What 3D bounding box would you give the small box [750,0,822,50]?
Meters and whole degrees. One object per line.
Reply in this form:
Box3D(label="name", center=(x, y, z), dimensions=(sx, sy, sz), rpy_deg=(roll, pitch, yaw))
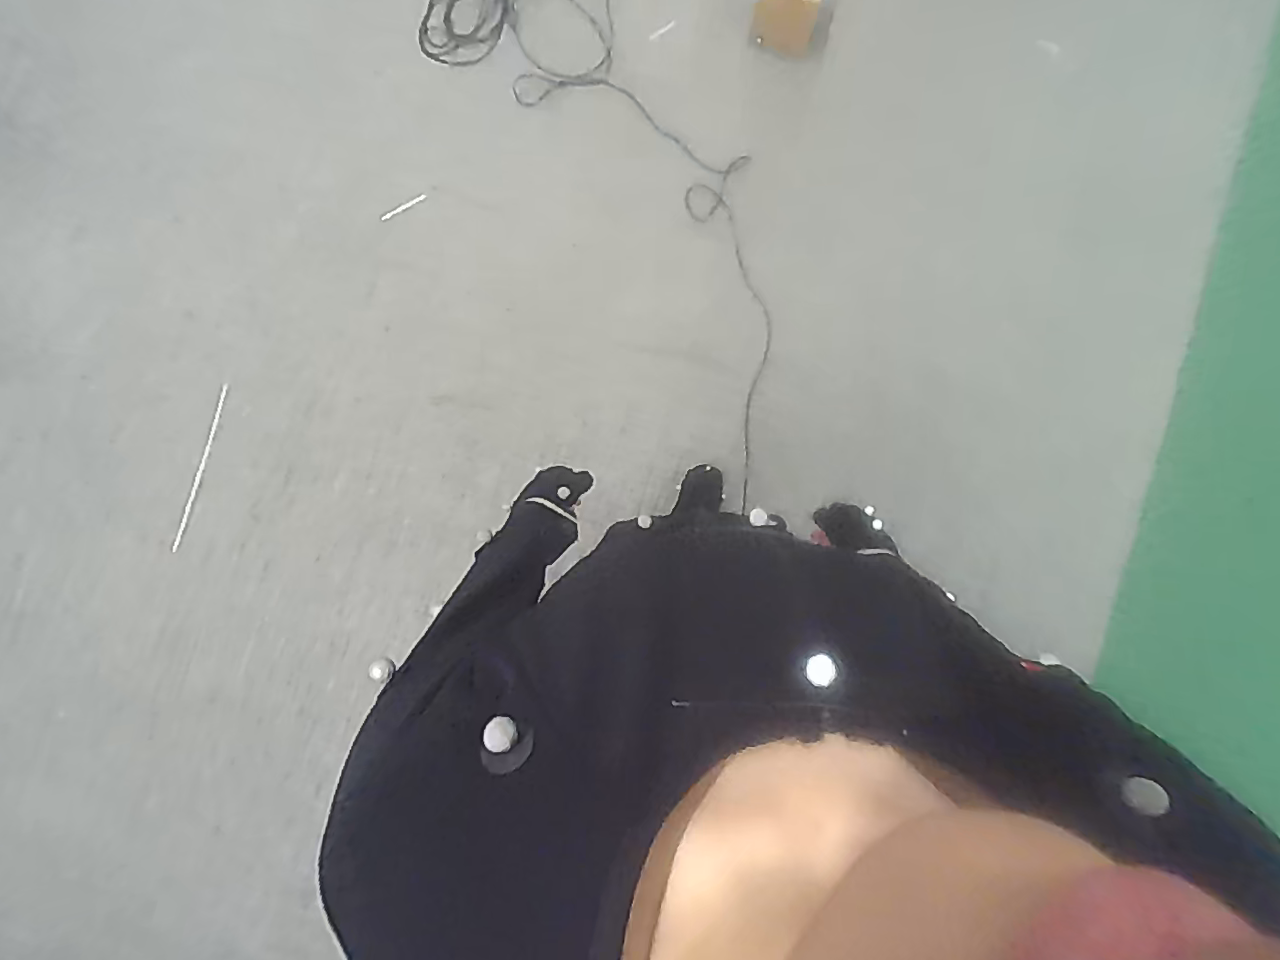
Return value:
Box3D(label="small box", center=(0.402, -1.305, 1.442), dimensions=(0.168, 0.176, 0.179), rpy_deg=(14, 88, 0))
